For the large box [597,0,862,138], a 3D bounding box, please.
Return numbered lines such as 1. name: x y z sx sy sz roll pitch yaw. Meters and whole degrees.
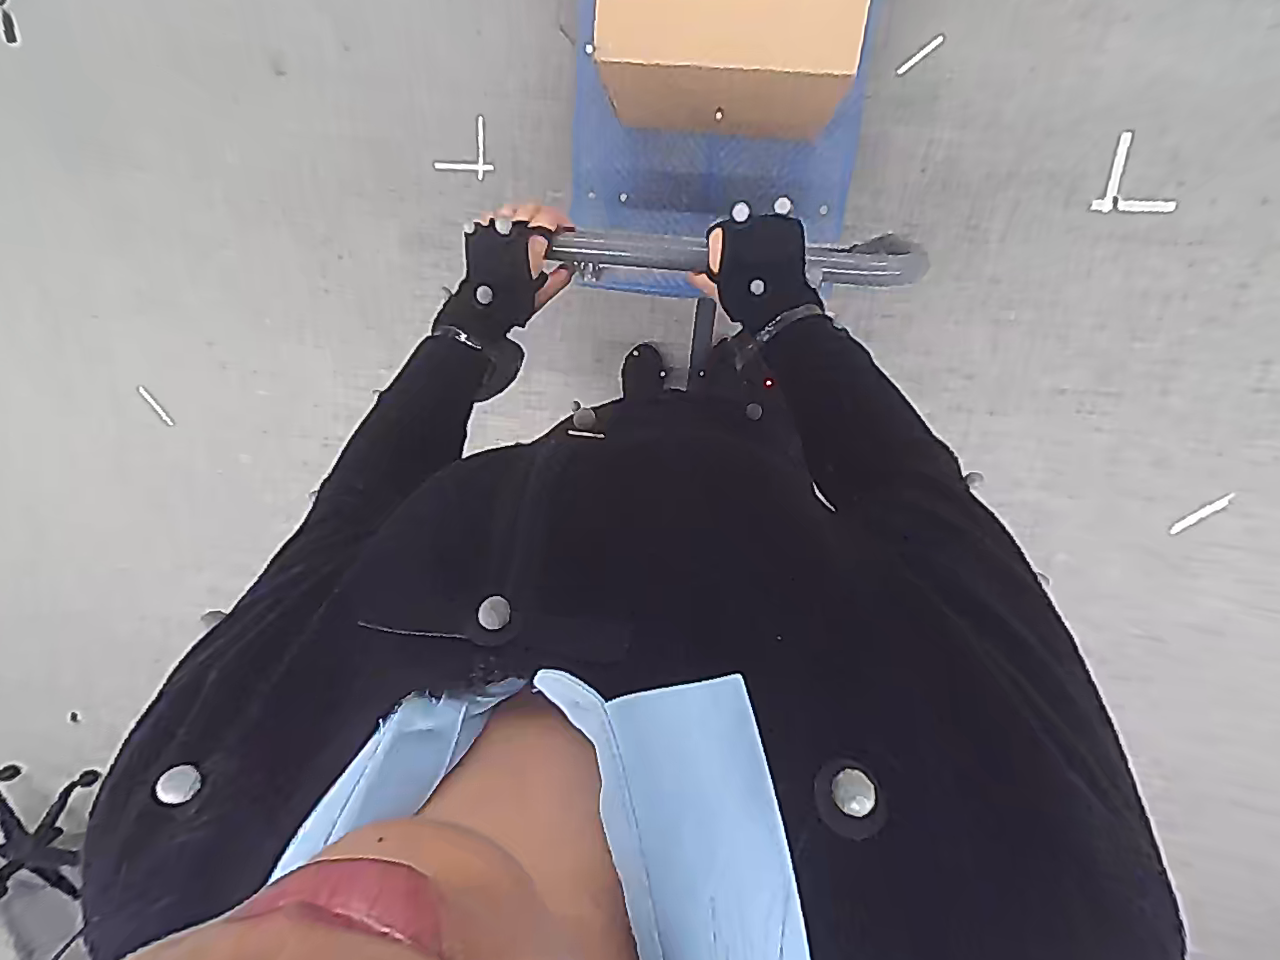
1. large box: 0.158 -0.824 0.947 0.408 0.320 0.320 7 106 6
